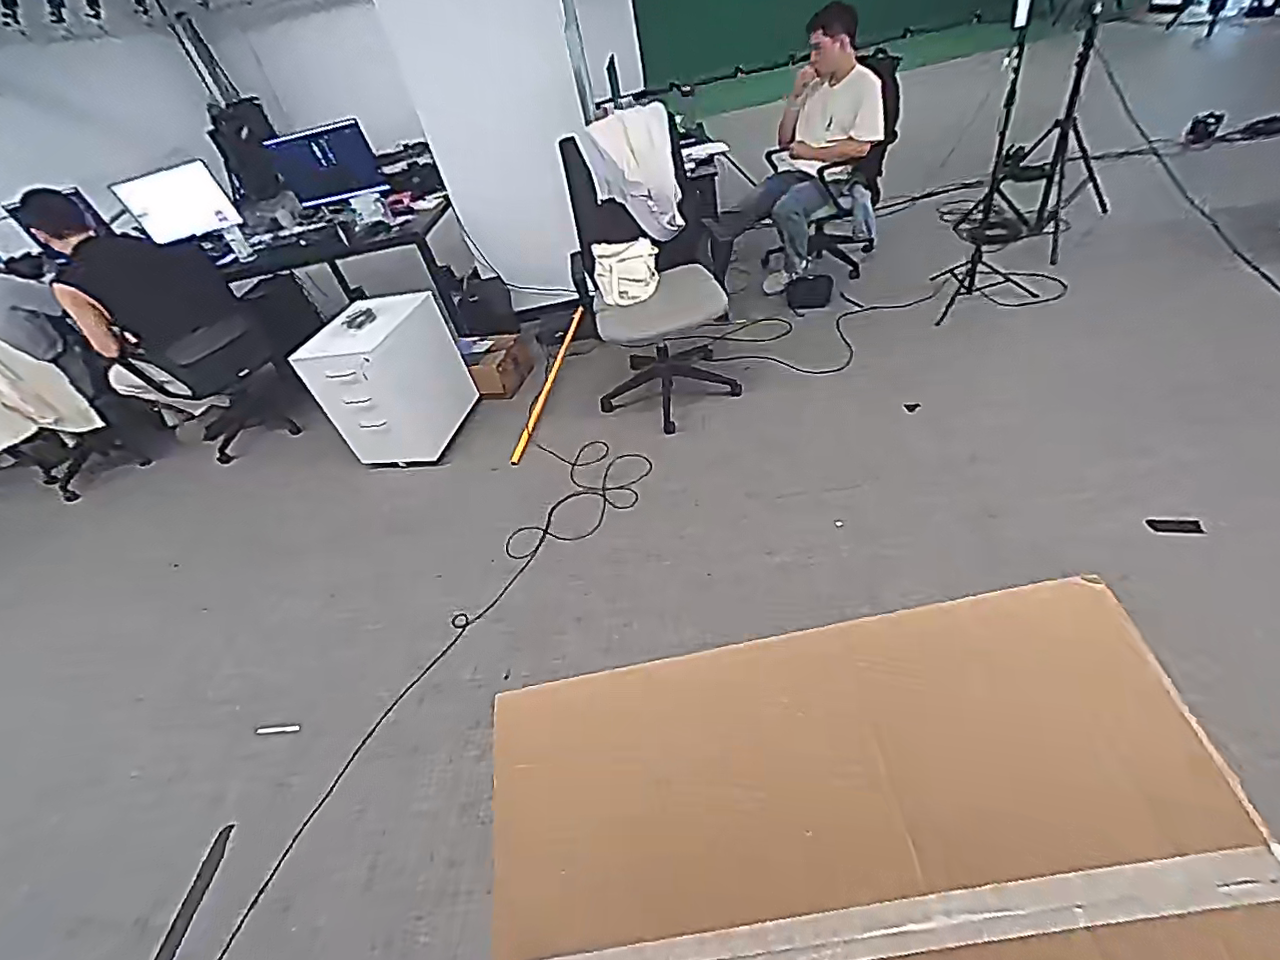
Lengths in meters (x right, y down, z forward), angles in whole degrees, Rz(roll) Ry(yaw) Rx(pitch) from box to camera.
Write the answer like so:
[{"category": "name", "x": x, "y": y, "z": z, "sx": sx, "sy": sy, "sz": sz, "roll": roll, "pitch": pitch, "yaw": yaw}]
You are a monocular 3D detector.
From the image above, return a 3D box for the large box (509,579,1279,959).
[{"category": "large box", "x": 0.148, "y": 0.314, "z": 0.414, "sx": 0.408, "sy": 0.320, "sz": 0.320, "roll": -13, "pitch": 58, "yaw": 6}]
